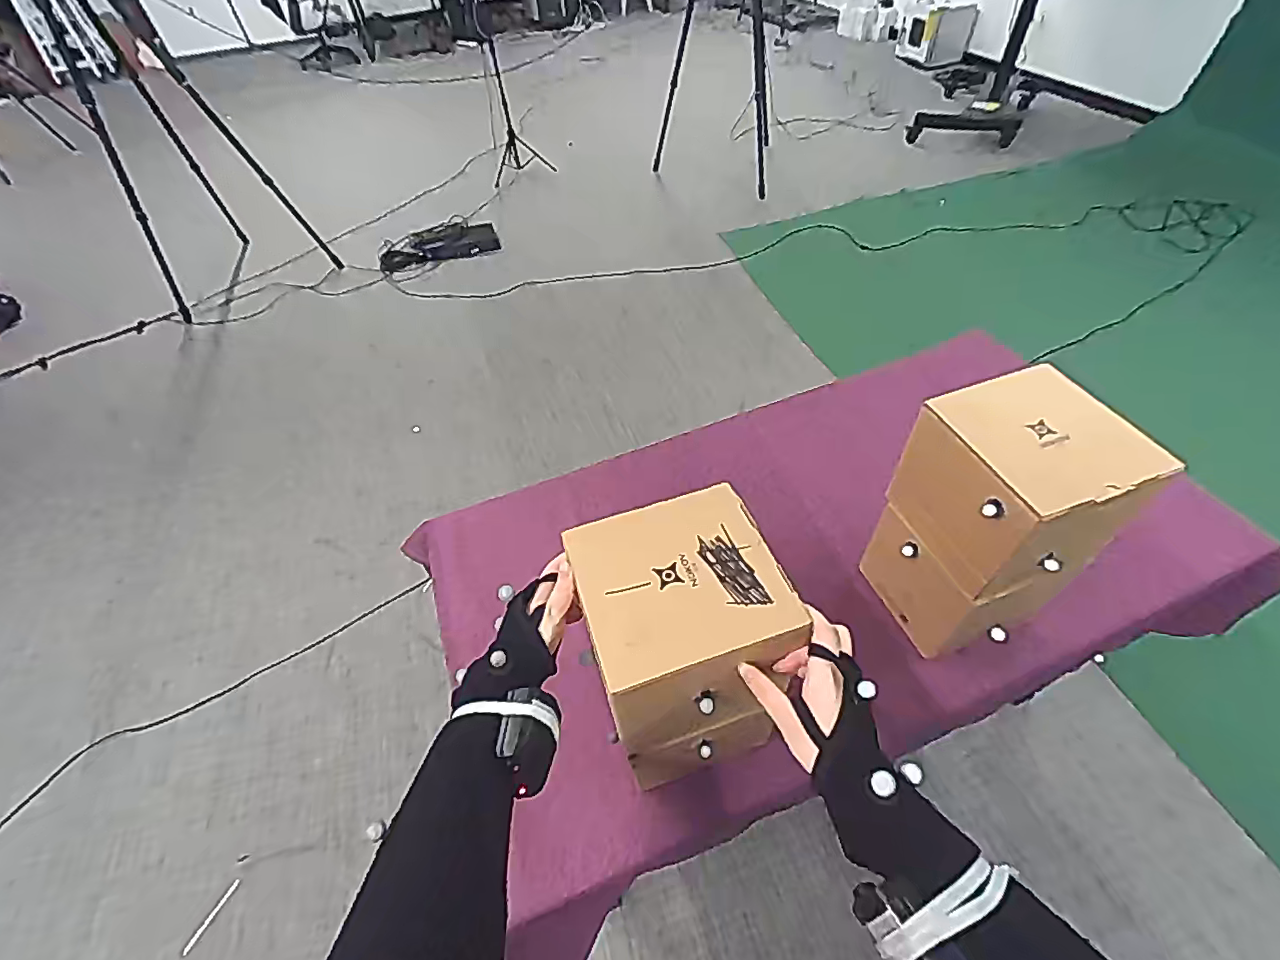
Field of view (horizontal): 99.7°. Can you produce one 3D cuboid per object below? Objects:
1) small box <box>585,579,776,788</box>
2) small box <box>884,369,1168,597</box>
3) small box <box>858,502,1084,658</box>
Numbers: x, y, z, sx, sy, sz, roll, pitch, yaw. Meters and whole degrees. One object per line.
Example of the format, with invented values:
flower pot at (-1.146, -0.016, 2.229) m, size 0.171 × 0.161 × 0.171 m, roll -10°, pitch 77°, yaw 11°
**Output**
small box at (0.046, 0.255, 0.669) m, size 0.179 × 0.176 × 0.168 m, roll -16°, pitch 51°, yaw -9°
small box at (0.418, 0.005, 0.629) m, size 0.168 × 0.176 × 0.179 m, roll -18°, pitch 52°, yaw -9°
small box at (0.435, 0.117, 0.748) m, size 0.179 × 0.176 × 0.168 m, roll -18°, pitch 51°, yaw -10°
